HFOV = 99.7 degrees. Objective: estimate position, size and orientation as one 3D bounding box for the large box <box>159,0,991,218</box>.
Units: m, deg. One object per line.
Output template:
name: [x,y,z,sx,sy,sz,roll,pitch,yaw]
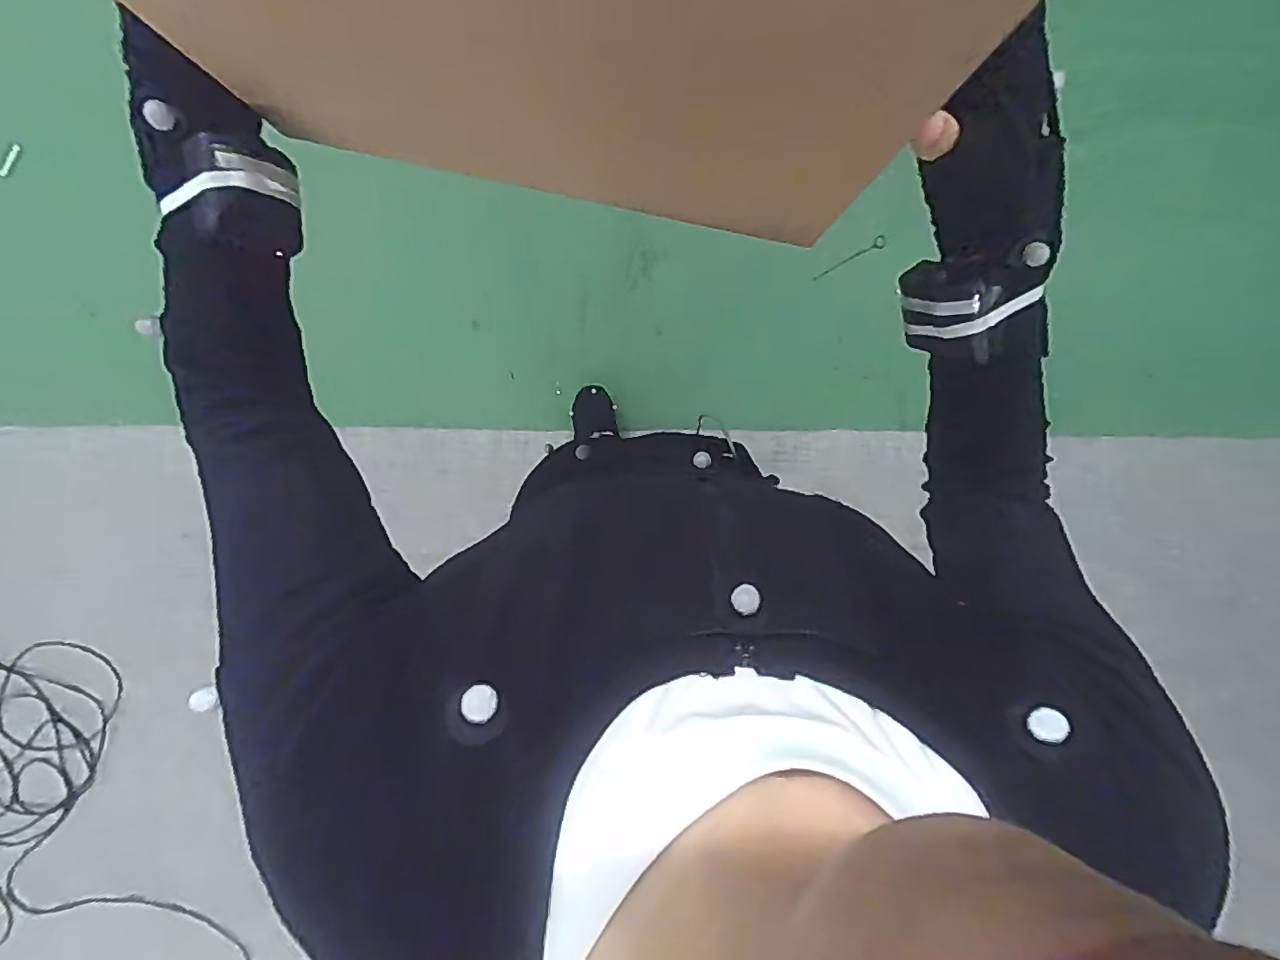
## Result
large box: [-0.037,-0.362,0.239,0.408,0.320,0.320,11,96,-2]
